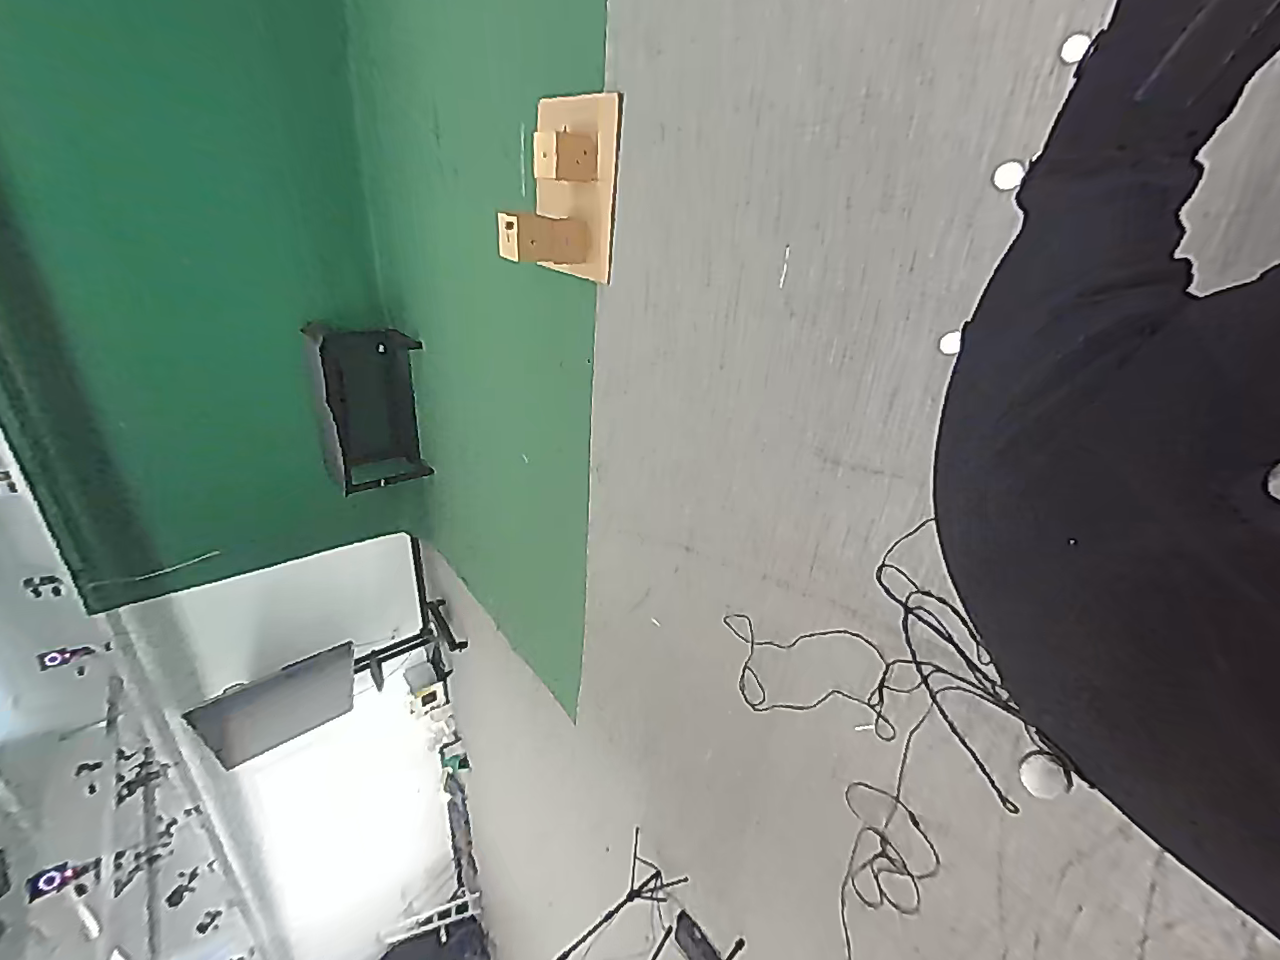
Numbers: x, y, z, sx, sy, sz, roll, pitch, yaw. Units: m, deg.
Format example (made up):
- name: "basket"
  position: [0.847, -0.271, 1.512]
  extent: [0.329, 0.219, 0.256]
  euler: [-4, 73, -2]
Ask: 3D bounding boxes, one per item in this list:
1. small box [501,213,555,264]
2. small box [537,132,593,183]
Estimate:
- name: "small box"
  position: [-0.476, -1.033, 2.310]
  extent: [0.168, 0.176, 0.179]
  euler: [36, 132, 39]
- name: "small box"
  position: [-0.316, -1.346, 2.264]
  extent: [0.179, 0.176, 0.168]
  euler: [31, 126, 42]
